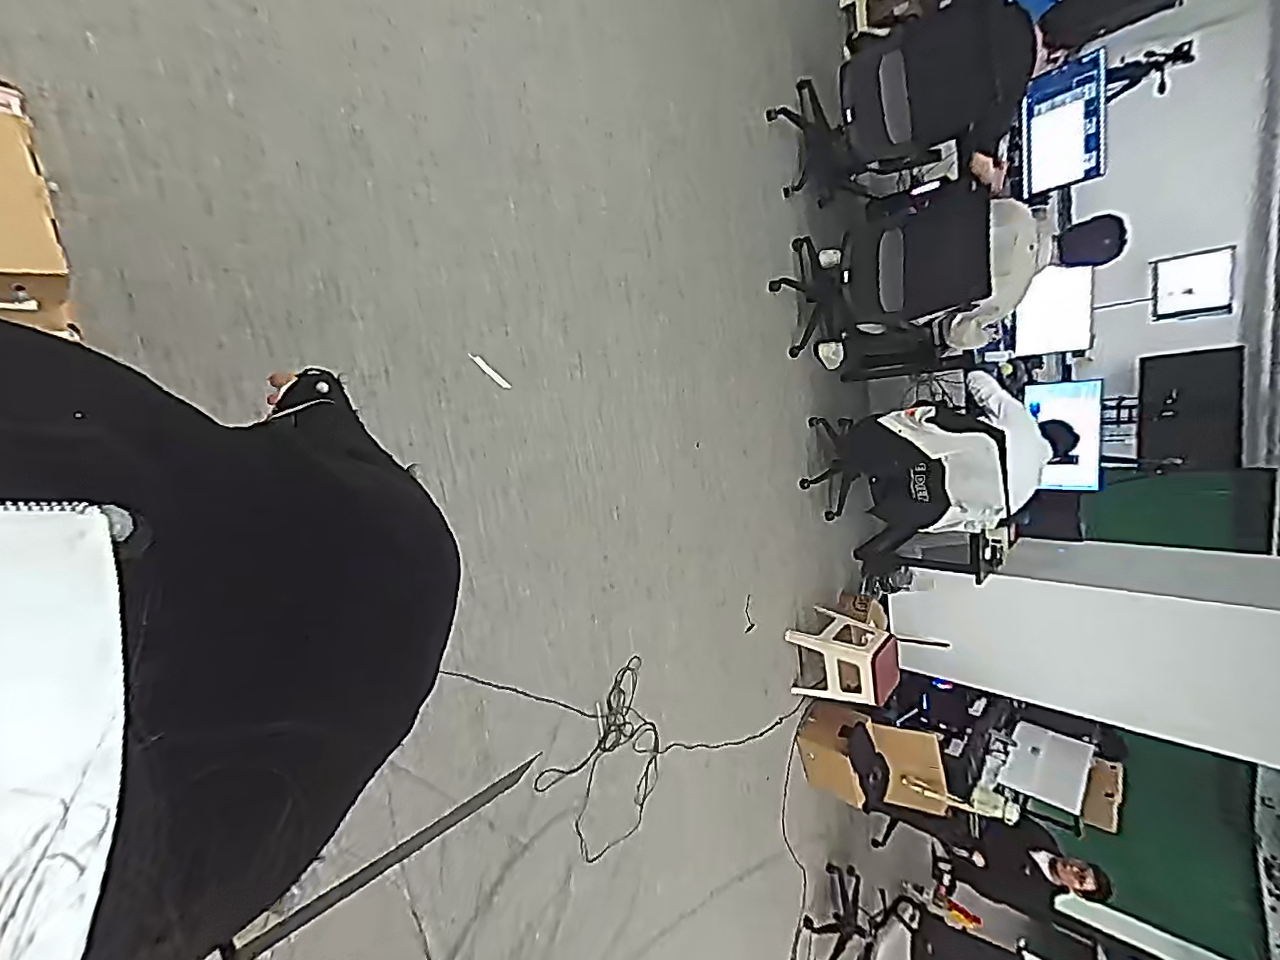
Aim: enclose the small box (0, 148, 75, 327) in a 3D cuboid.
[{"bbox_3d":[-0.780,-0.267,0.603,0.179,0.176,0.168,-19,106,-44],"label":"small box"}]
